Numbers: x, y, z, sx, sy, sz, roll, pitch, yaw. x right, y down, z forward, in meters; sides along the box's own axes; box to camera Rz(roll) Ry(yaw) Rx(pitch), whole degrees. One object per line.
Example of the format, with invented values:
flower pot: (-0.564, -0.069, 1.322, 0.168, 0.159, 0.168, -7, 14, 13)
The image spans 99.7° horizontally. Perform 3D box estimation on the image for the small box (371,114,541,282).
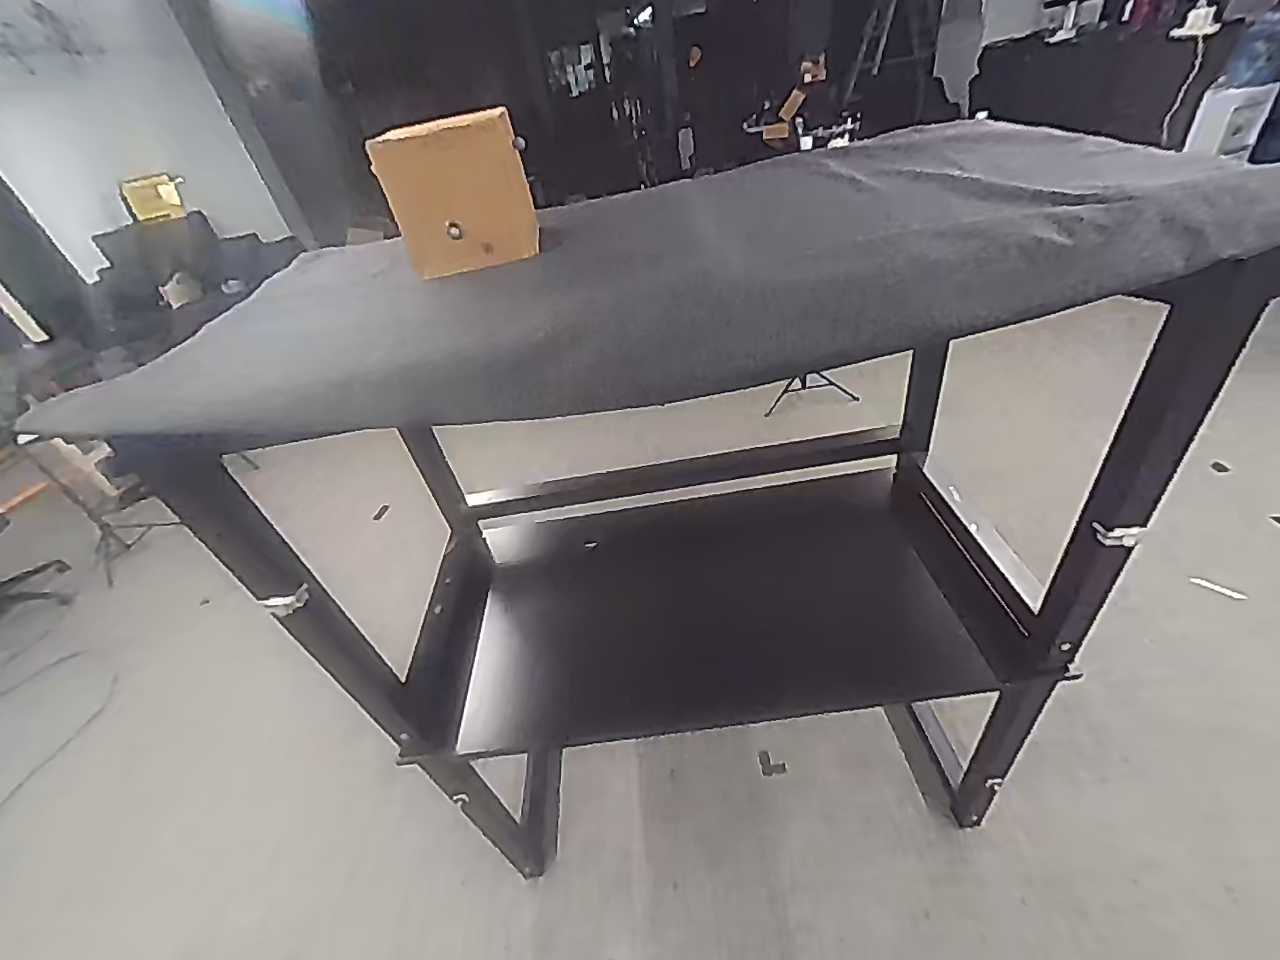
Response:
small box: (-0.241, -0.395, 0.760, 0.168, 0.176, 0.179, -13, 38, -1)
